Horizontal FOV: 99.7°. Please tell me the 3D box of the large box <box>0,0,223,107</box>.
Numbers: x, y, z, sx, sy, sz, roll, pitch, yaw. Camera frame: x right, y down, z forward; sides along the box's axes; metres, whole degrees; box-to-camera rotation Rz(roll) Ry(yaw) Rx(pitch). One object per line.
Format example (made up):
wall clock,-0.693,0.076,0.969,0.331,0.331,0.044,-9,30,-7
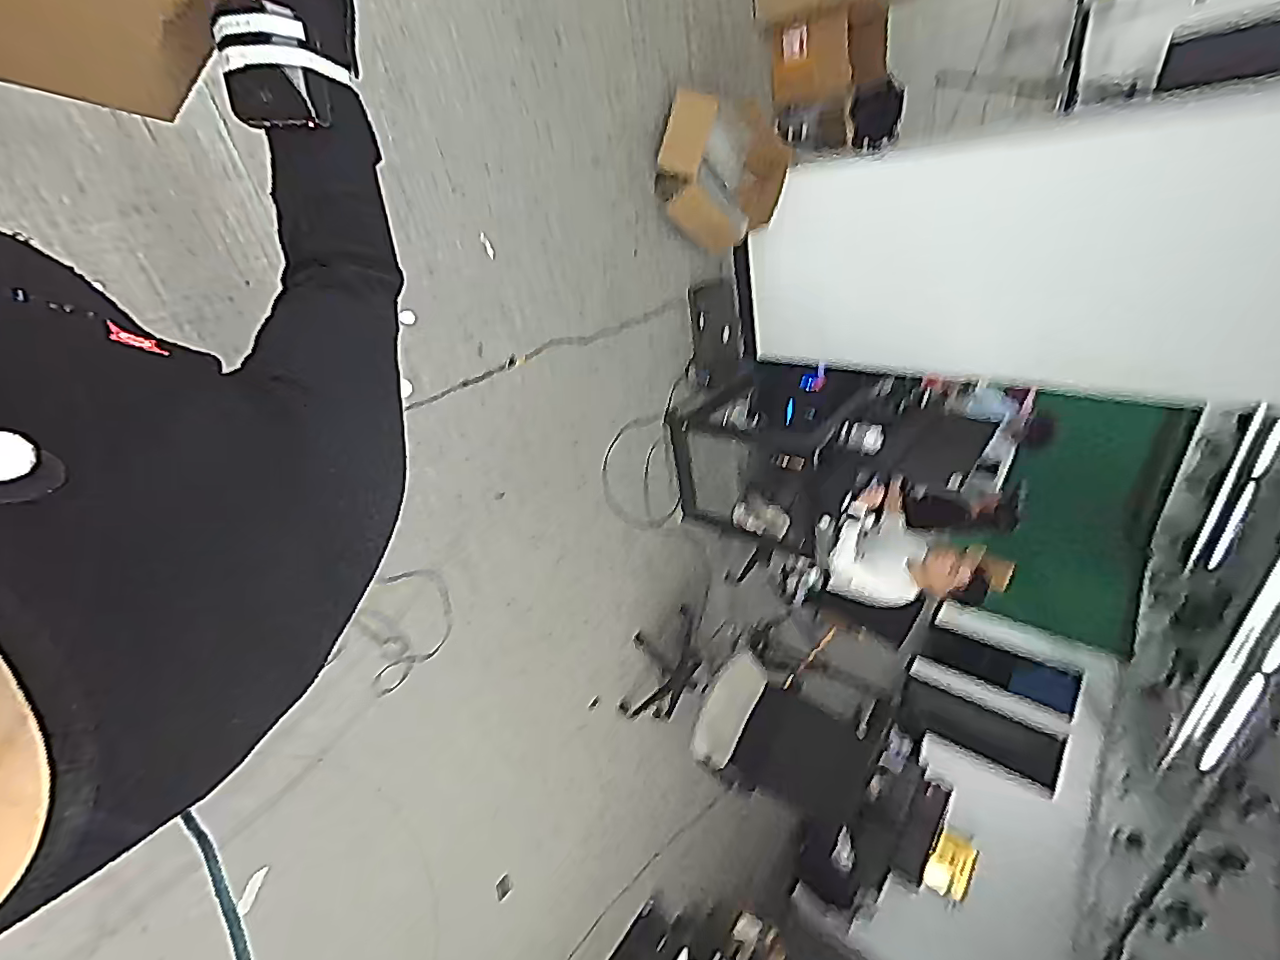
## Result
large box,-0.489,-0.451,0.256,0.408,0.320,0.320,-15,110,-47
